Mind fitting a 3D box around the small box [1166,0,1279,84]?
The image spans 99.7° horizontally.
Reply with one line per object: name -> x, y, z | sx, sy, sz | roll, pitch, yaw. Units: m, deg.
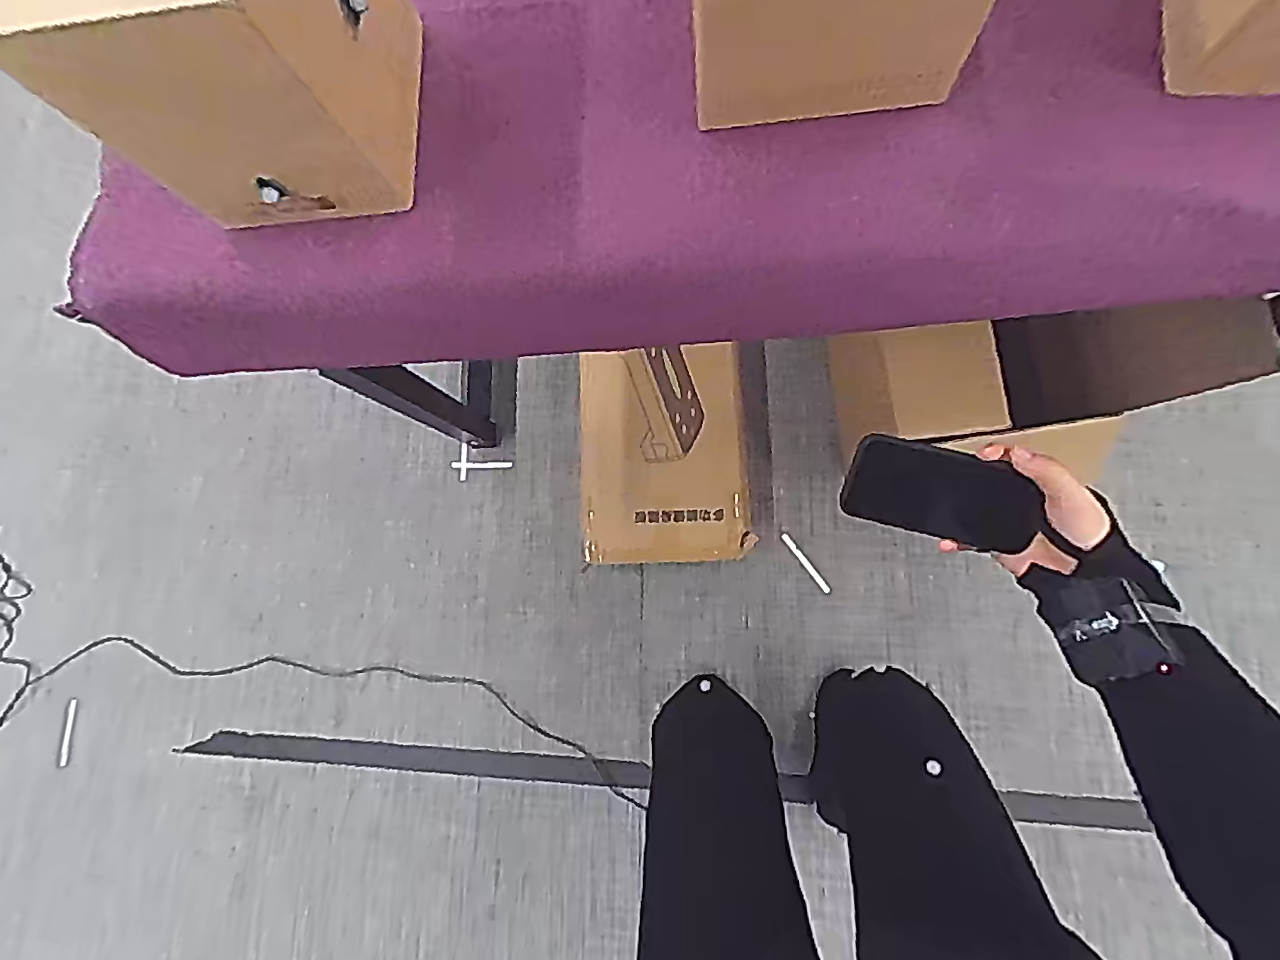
small box -> 0.434, -0.348, 0.286 | 0.179, 0.176, 0.168 | 5, 82, 7

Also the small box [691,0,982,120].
small box -> 0.119, -0.359, 0.326 | 0.179, 0.176, 0.168 | -3, 79, 7
